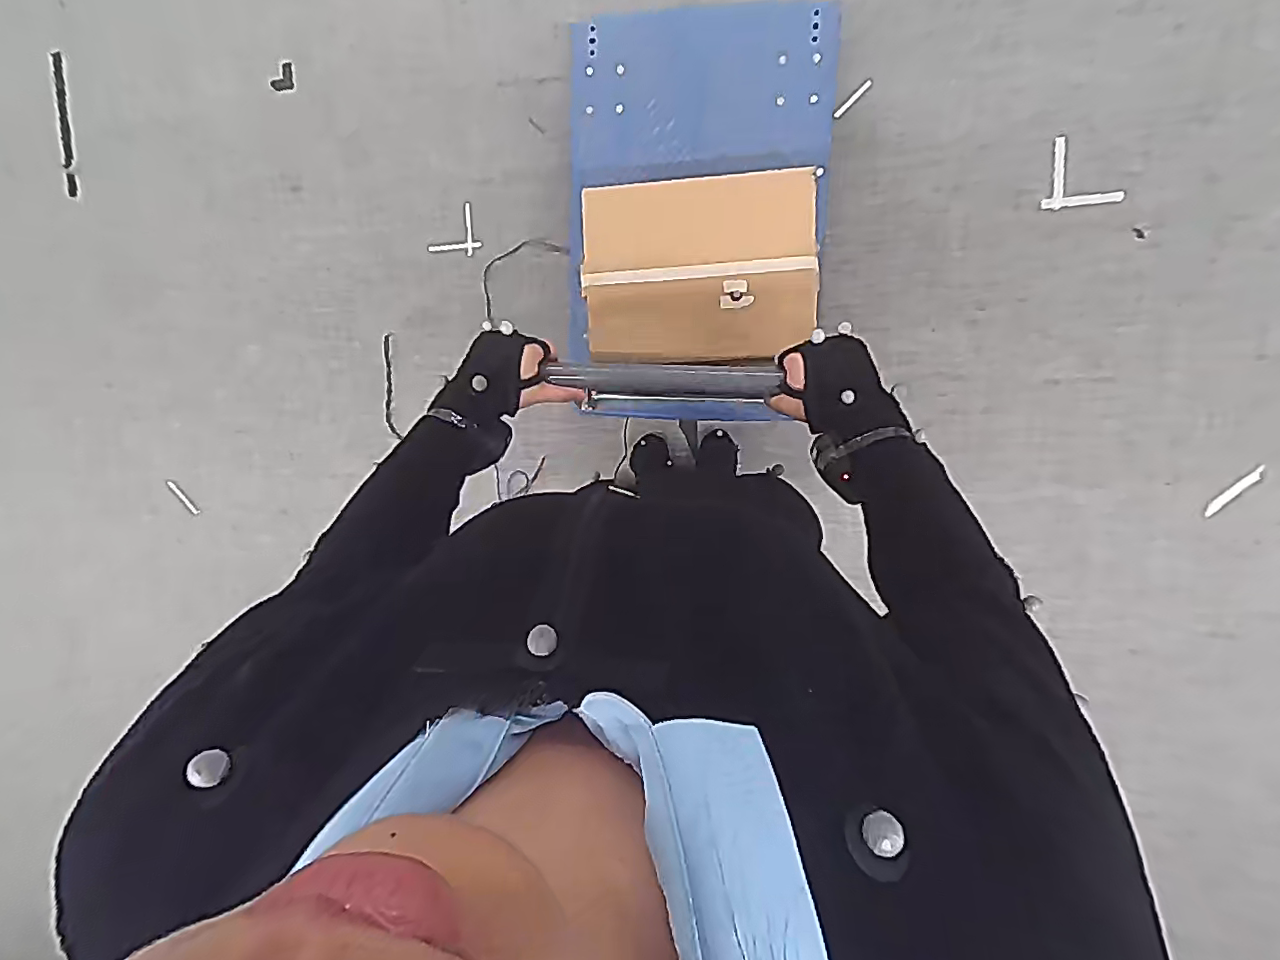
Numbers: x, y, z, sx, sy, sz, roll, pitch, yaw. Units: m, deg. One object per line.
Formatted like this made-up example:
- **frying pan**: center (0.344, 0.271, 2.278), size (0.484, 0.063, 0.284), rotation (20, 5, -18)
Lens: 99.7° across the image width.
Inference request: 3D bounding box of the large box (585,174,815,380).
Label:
- **large box**: center (0.120, -0.381, 1.107), size (0.408, 0.320, 0.320), rotation (-2, 98, 7)
